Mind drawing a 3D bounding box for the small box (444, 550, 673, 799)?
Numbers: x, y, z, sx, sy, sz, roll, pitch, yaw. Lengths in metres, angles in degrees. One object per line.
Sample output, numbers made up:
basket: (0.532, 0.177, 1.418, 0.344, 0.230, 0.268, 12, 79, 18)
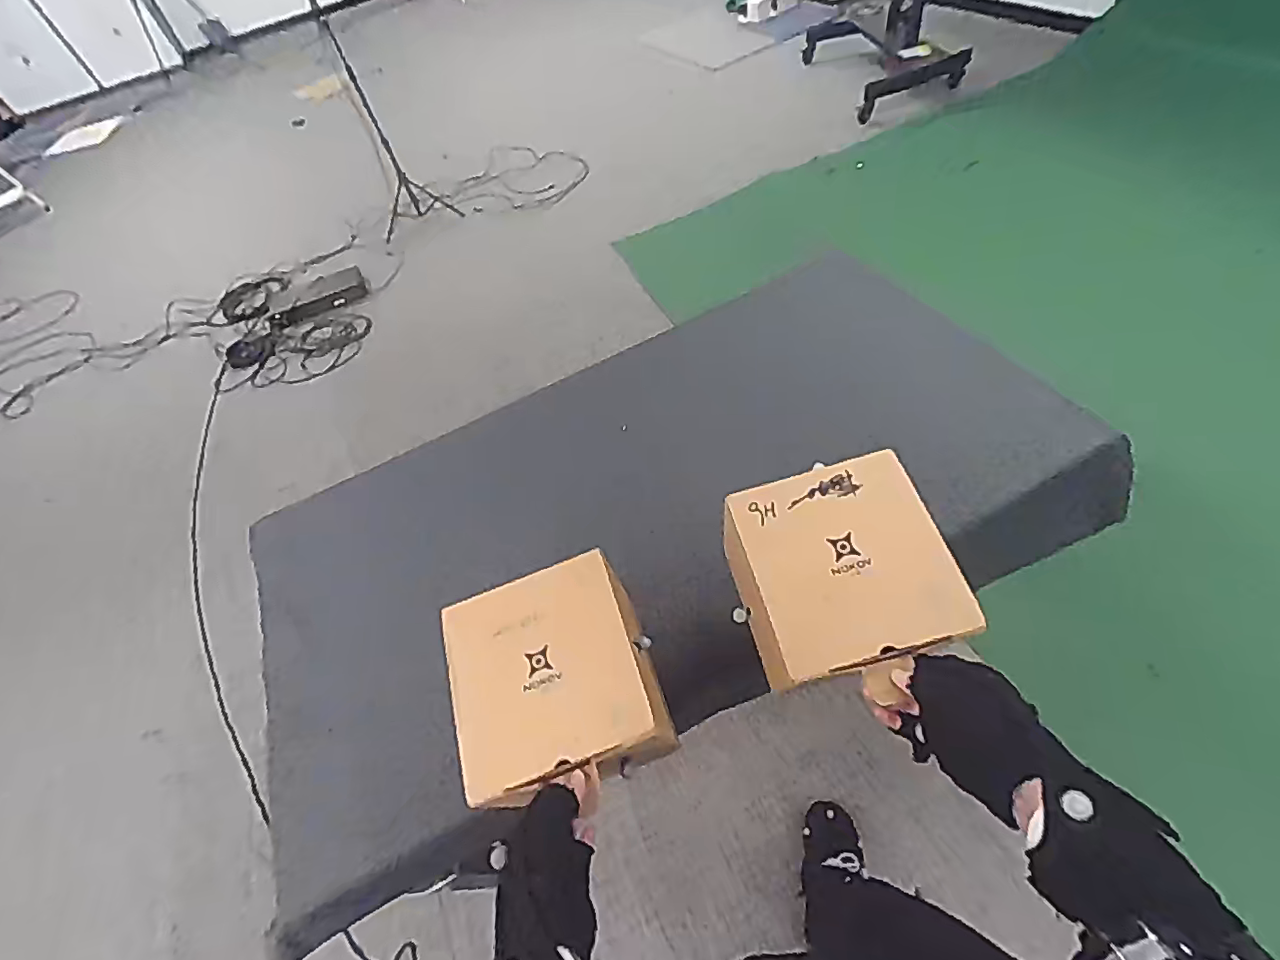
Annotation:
small box: (-0.076, 0.205, 0.560, 0.168, 0.176, 0.179, -23, 57, -2)
